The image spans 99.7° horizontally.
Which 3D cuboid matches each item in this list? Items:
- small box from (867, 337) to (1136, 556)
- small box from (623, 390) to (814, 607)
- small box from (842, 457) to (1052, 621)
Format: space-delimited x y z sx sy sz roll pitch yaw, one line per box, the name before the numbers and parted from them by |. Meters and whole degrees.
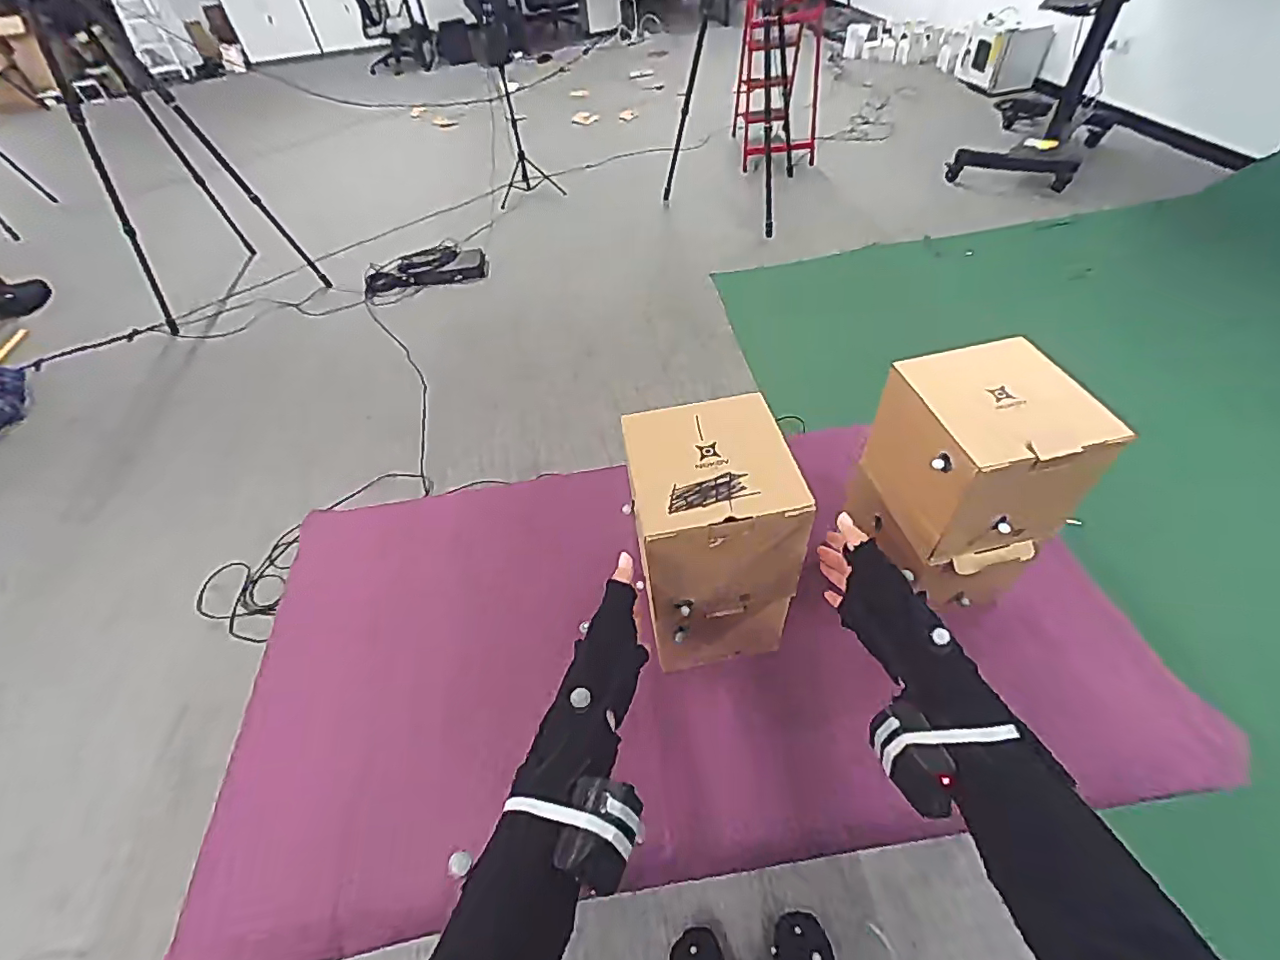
small box | 0.396 -0.038 0.637 0.168 0.176 0.179 -12 50 -4
small box | 0.079 0.028 0.614 0.168 0.176 0.179 -10 48 -2
small box | 0.407 0.070 0.759 0.168 0.176 0.179 -13 50 -4
